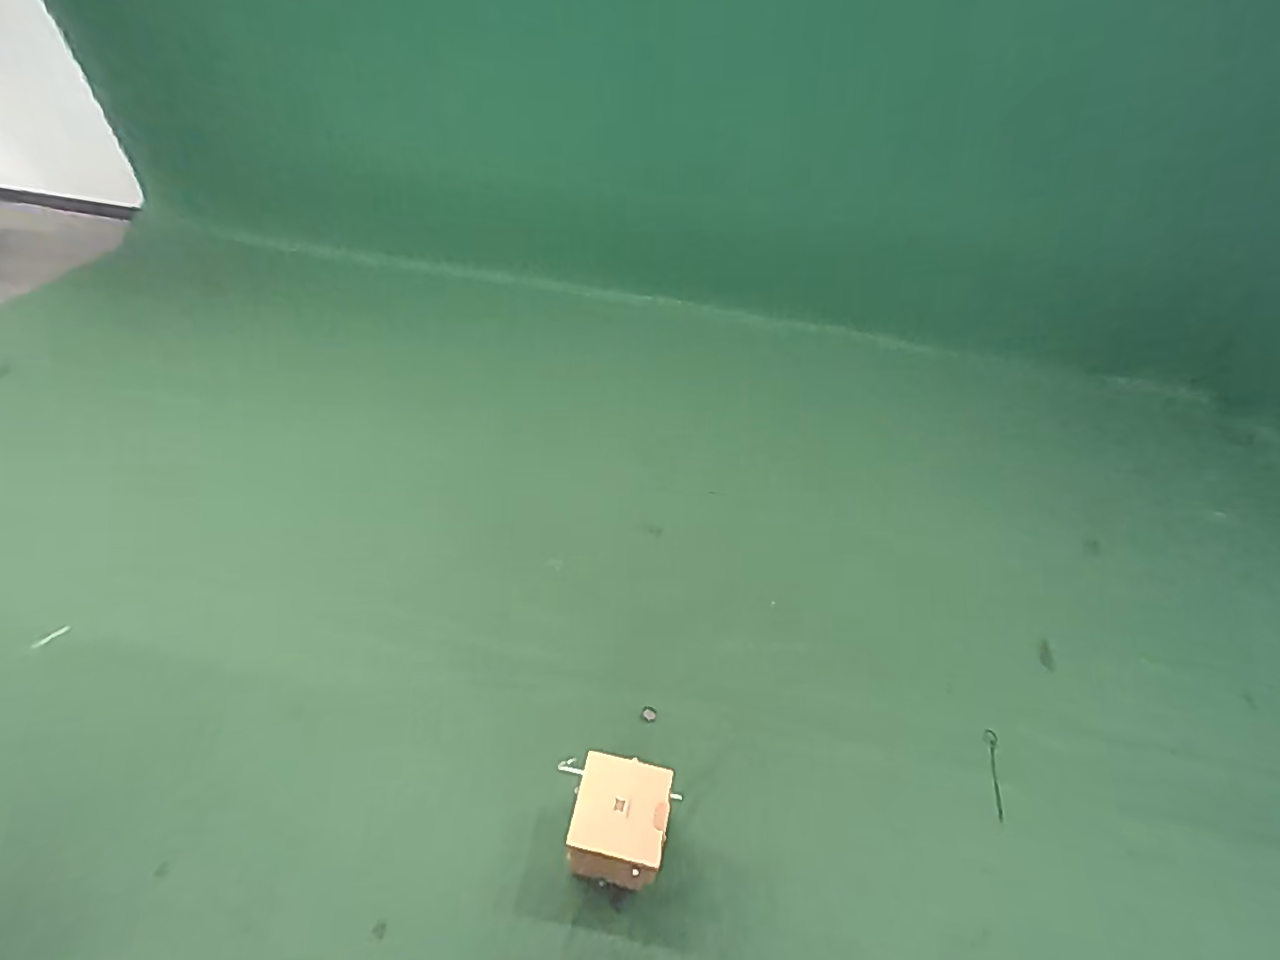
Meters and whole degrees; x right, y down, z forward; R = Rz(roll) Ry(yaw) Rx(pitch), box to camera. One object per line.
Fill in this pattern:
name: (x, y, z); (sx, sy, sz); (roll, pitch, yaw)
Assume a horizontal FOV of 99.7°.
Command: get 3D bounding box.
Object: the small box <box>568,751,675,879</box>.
small box: (-0.036, 0.670, 1.076); (0.179, 0.176, 0.168); (11, 47, 5)
